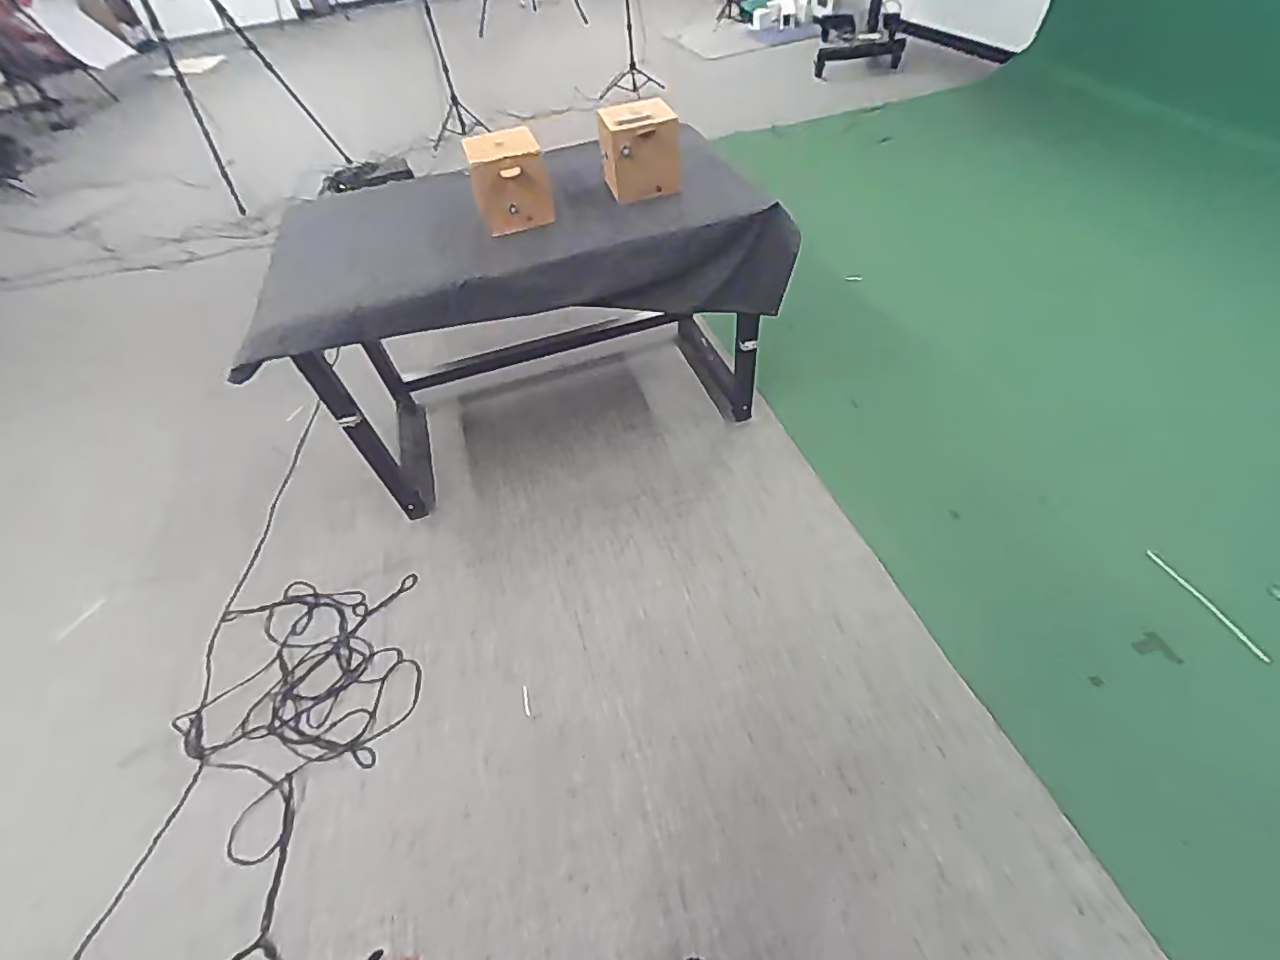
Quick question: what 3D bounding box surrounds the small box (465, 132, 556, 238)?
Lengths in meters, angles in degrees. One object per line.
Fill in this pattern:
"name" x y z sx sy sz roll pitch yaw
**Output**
"small box" -0.314 -0.718 1.319 0.168 0.176 0.179 -17 51 -8
